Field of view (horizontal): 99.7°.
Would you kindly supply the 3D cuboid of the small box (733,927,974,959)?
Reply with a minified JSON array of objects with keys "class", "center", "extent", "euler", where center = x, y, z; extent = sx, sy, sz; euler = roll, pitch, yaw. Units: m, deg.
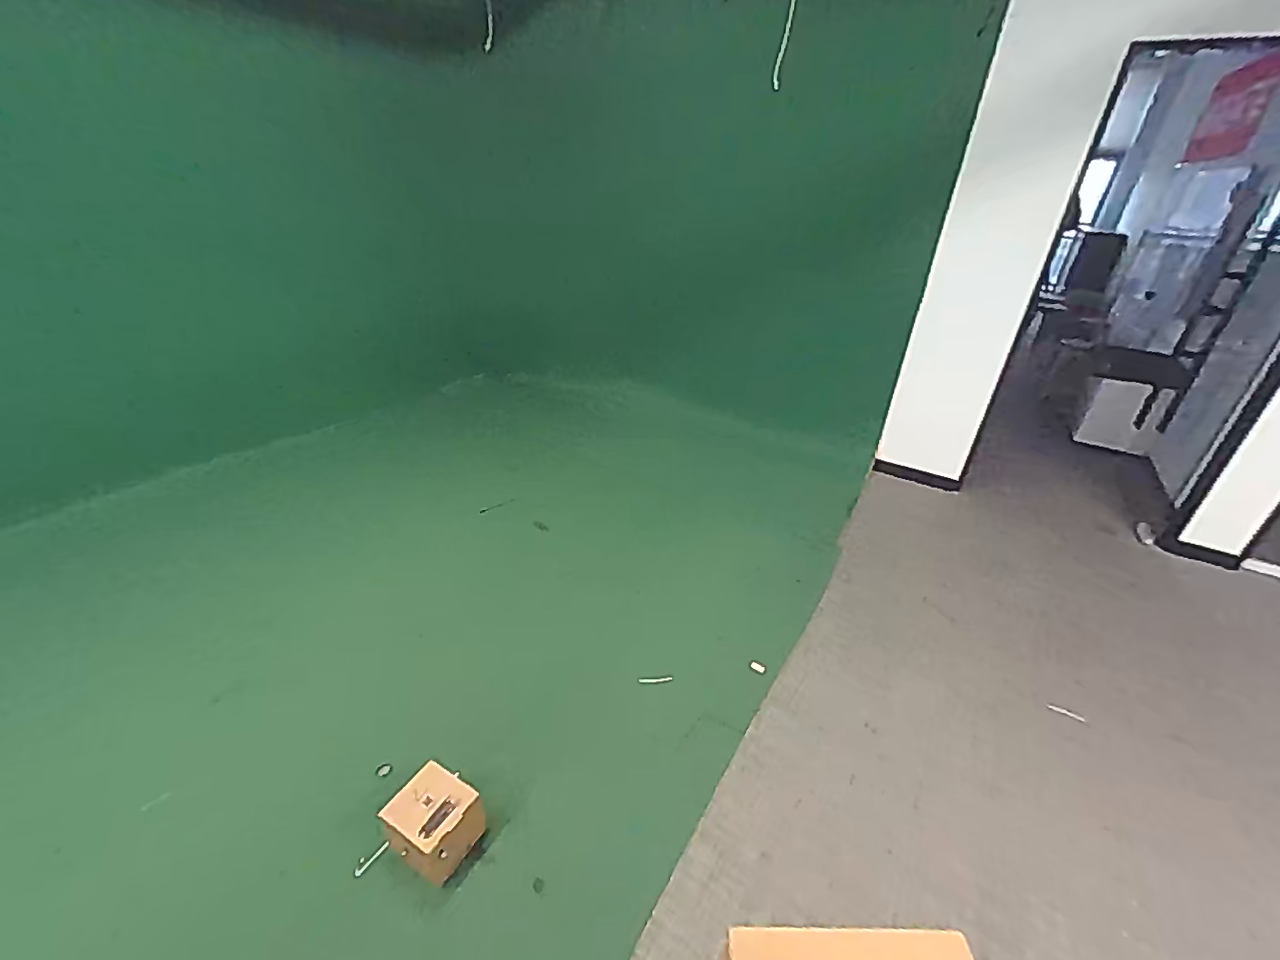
[{"class":"small box","center":[0.133,0.417,0.330],"extent":[0.168,0.176,0.179],"euler":[4,30,-4]}]
